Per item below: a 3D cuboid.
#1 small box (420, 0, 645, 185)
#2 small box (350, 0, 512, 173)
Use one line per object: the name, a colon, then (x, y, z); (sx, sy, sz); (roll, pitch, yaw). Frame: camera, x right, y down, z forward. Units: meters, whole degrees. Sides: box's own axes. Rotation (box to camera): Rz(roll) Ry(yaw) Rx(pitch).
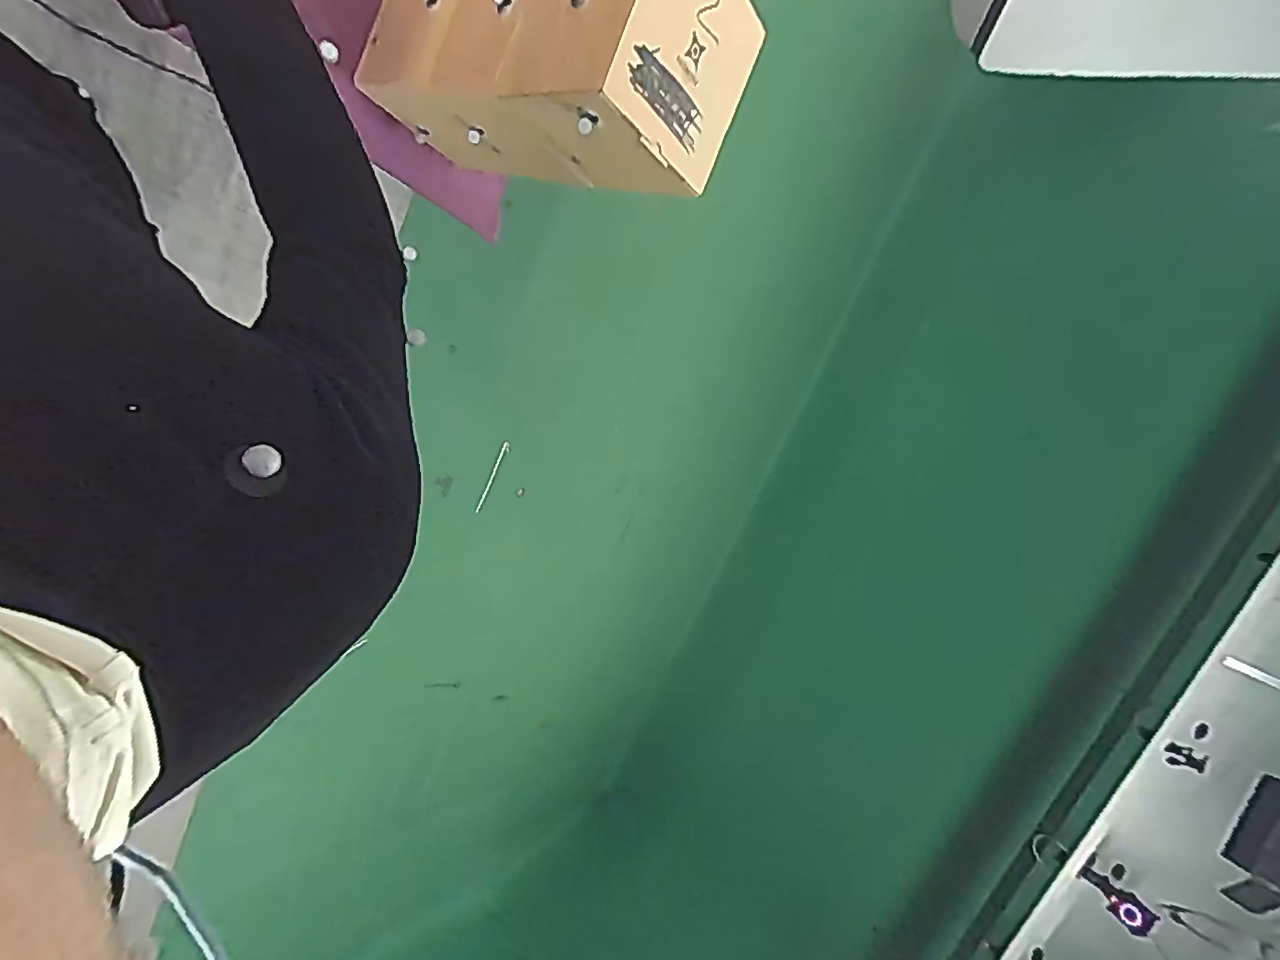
small box: (-0.131, -0.493, 0.648); (0.168, 0.176, 0.179); (17, 101, -54)
small box: (-0.252, -0.558, 0.737); (0.179, 0.176, 0.168); (17, 100, -56)
